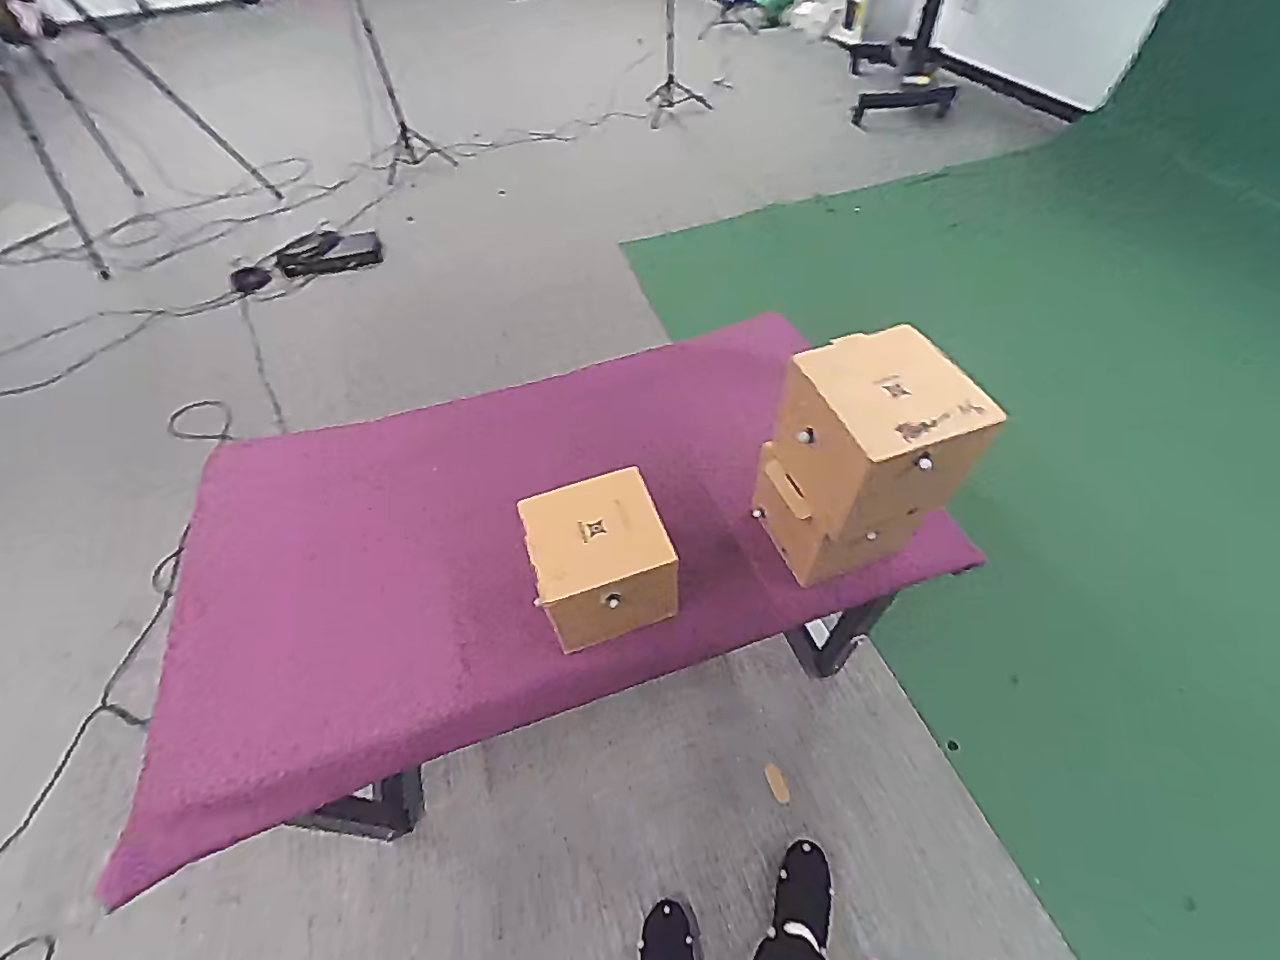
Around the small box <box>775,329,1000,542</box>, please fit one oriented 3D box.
[{"bbox_3d":[0.285,-0.053,0.673,0.168,0.176,0.179,-18,53,-8],"label":"small box"}]

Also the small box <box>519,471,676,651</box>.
[{"bbox_3d":[-0.056,0.120,0.773,0.179,0.176,0.168,-17,53,-9],"label":"small box"}]

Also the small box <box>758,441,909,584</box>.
[{"bbox_3d":[0.290,0.032,0.814,0.179,0.176,0.168,-19,54,-10],"label":"small box"}]
